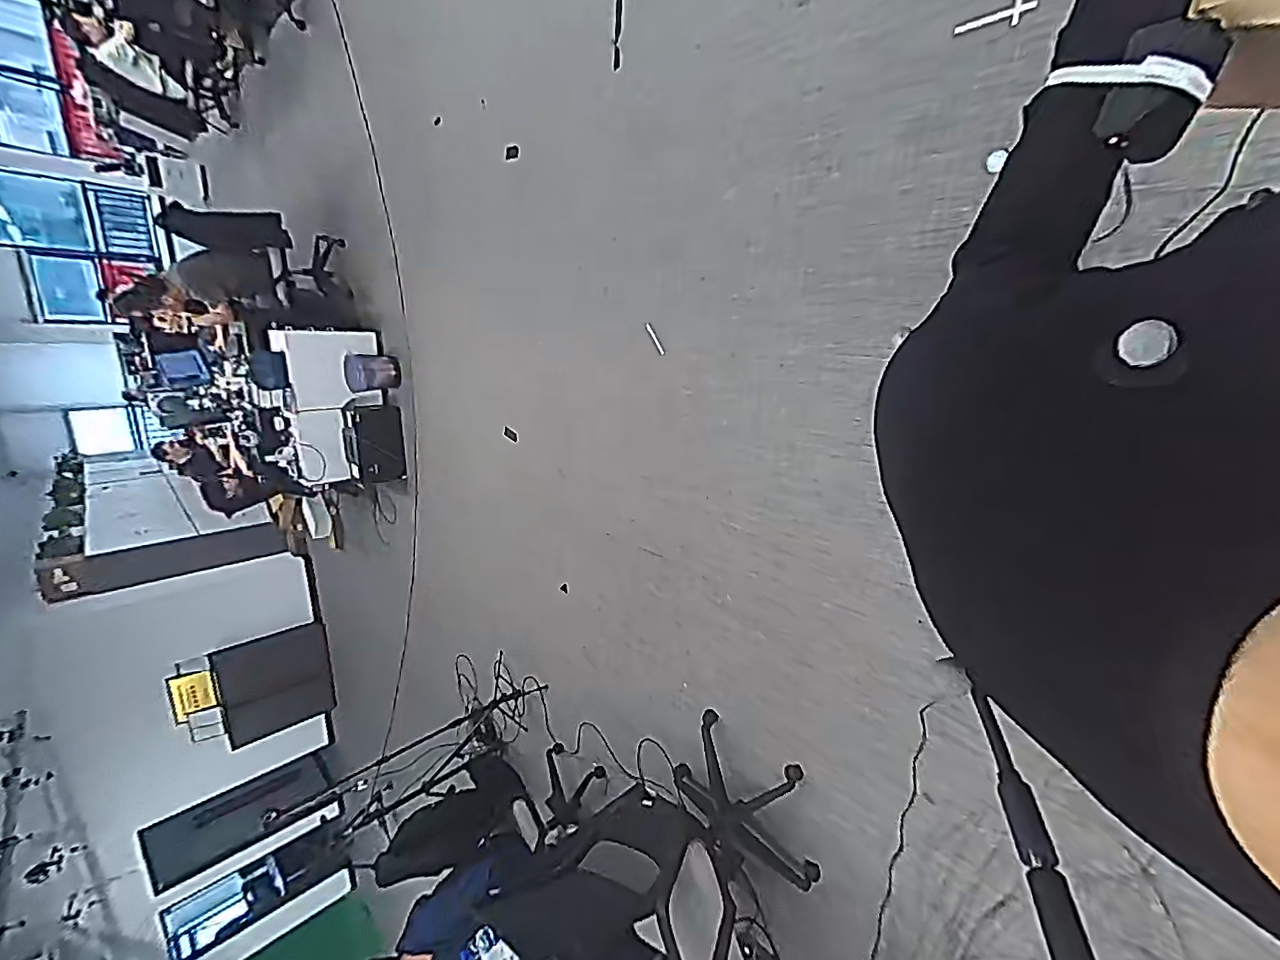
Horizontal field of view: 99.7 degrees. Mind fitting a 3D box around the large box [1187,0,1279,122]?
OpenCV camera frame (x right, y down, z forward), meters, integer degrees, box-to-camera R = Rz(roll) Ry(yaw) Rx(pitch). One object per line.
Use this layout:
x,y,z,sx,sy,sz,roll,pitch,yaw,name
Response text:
0.602,-0.385,0.261,0.408,0.320,0.320,27,126,36,large box
